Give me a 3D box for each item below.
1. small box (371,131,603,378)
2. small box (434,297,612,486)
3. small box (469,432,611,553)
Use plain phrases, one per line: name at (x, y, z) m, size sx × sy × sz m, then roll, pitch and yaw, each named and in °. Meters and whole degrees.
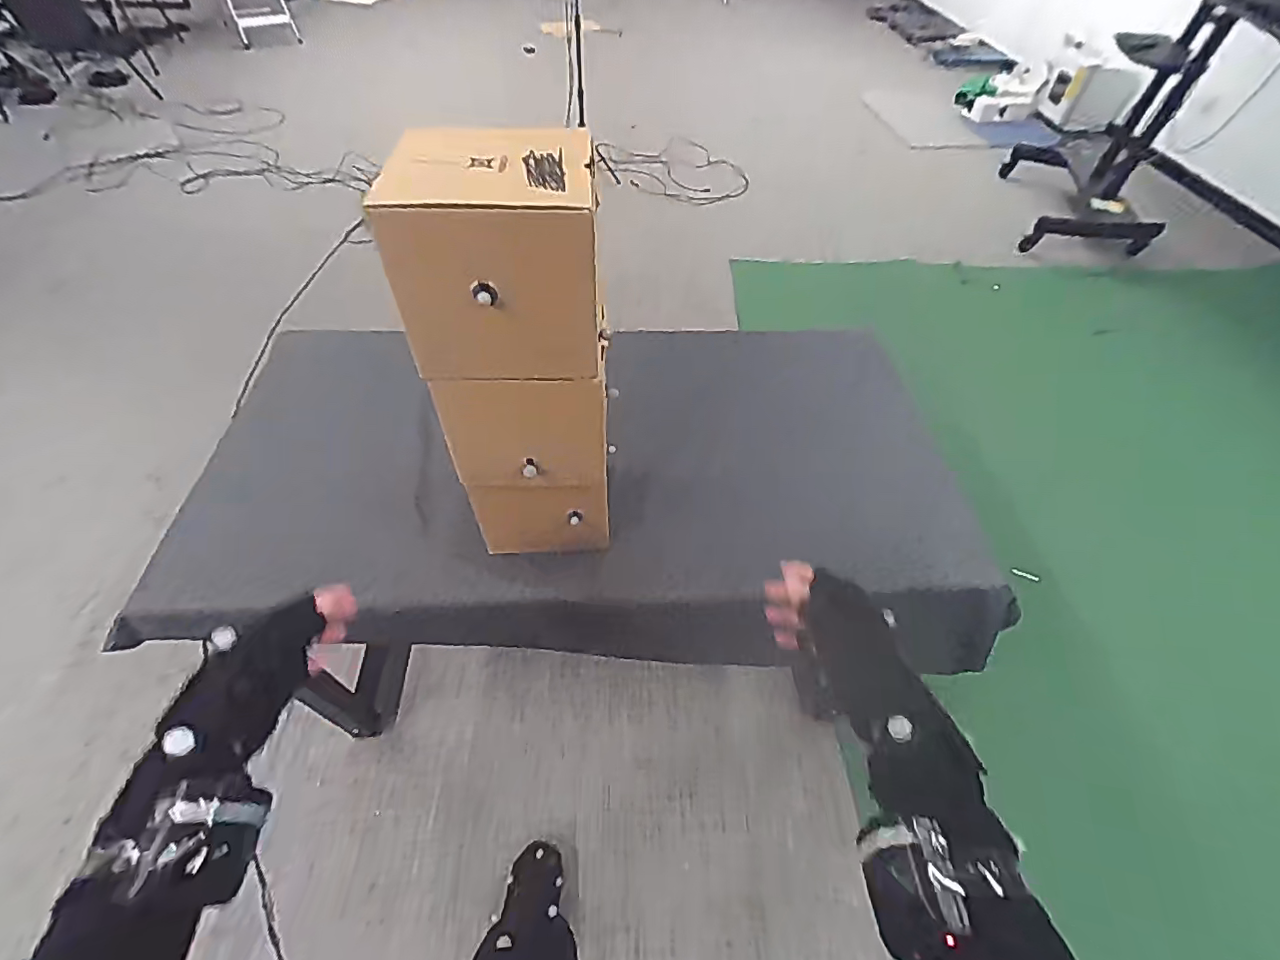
small box at (-0.124, -0.212, 0.525) m, size 0.179 × 0.176 × 0.168 m, roll -1°, pitch 50°, yaw -3°
small box at (-0.125, -0.105, 0.651) m, size 0.179 × 0.176 × 0.168 m, roll 1°, pitch 49°, yaw -4°
small box at (-0.132, -0.007, 0.781) m, size 0.179 × 0.176 × 0.168 m, roll -3°, pitch 50°, yaw -3°
